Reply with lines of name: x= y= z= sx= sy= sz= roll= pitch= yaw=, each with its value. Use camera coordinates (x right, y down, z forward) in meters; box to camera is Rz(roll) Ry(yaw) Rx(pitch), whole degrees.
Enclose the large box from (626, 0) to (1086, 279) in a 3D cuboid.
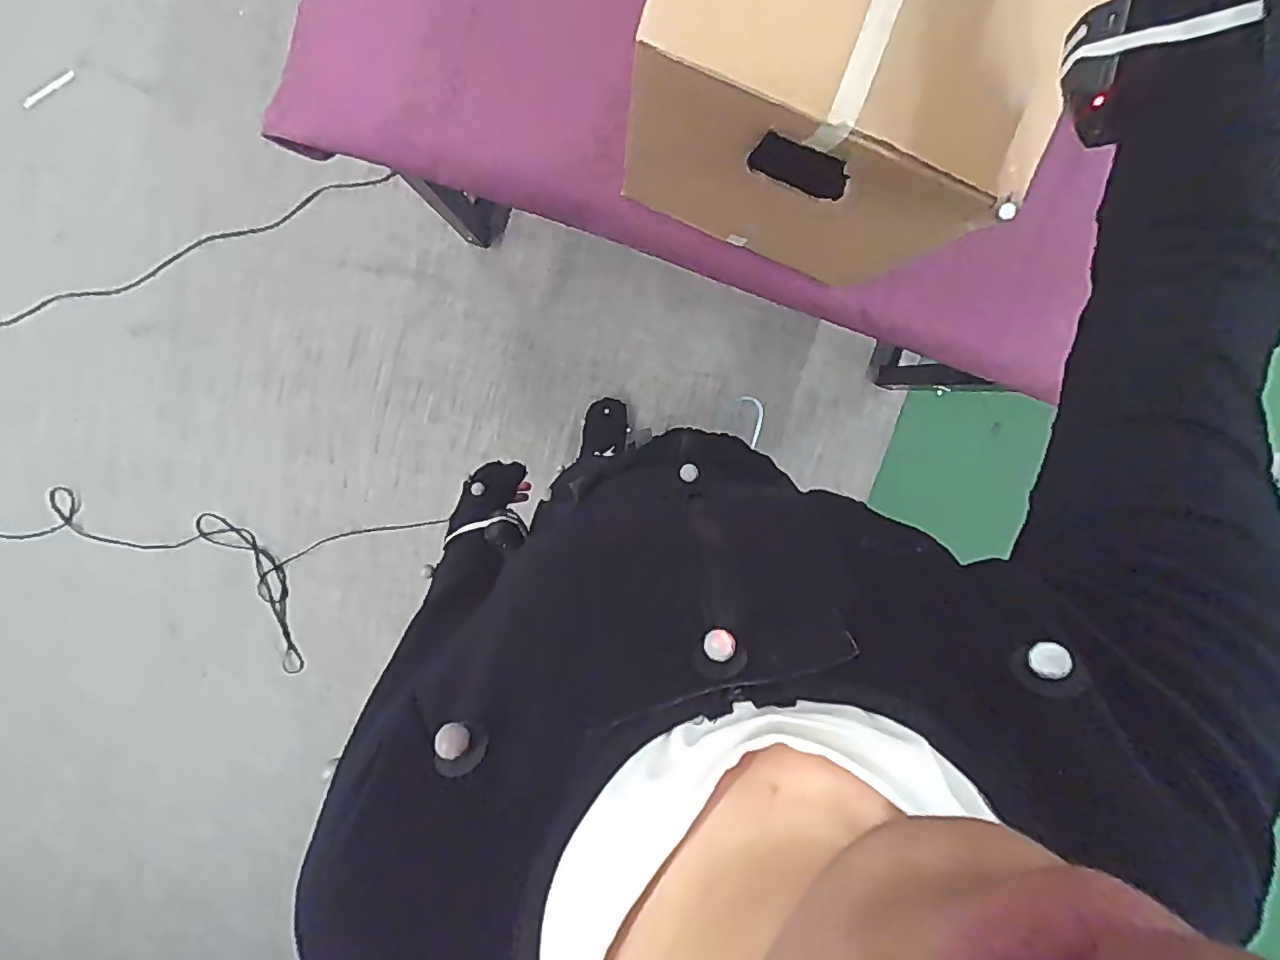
large box: x=0.198 y=-0.472 z=0.533 sx=0.320 sy=0.320 sz=0.408 roll=20 pitch=98 yaw=-6
